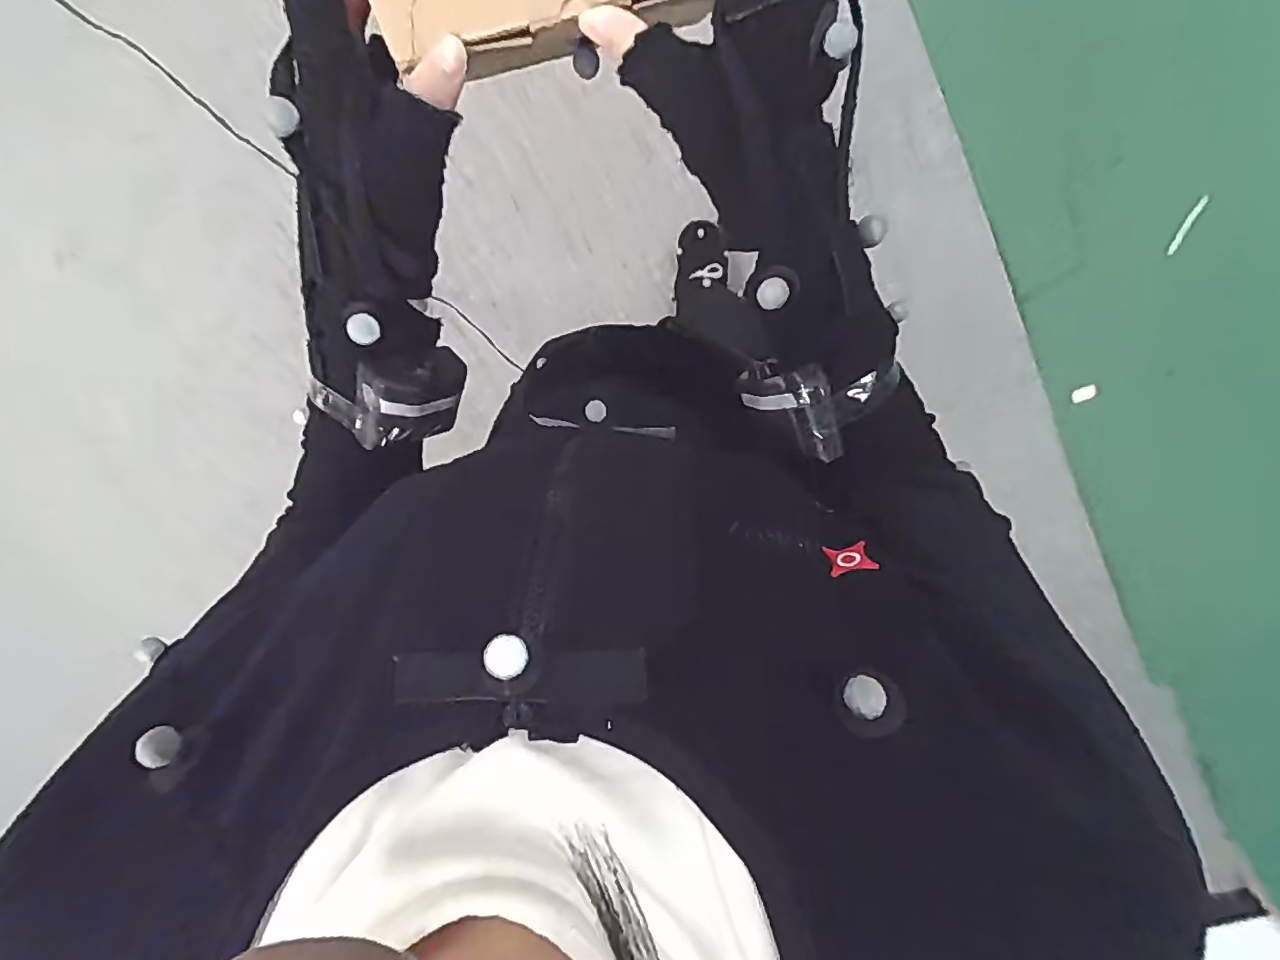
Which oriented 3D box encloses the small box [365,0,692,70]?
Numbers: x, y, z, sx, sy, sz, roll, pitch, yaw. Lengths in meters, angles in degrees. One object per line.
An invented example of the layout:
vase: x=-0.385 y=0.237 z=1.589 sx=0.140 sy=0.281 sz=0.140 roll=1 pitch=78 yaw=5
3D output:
small box: x=-0.054 y=-0.311 z=0.243 sx=0.168 sy=0.176 sz=0.179 roll=-13 pitch=125 yaw=5
